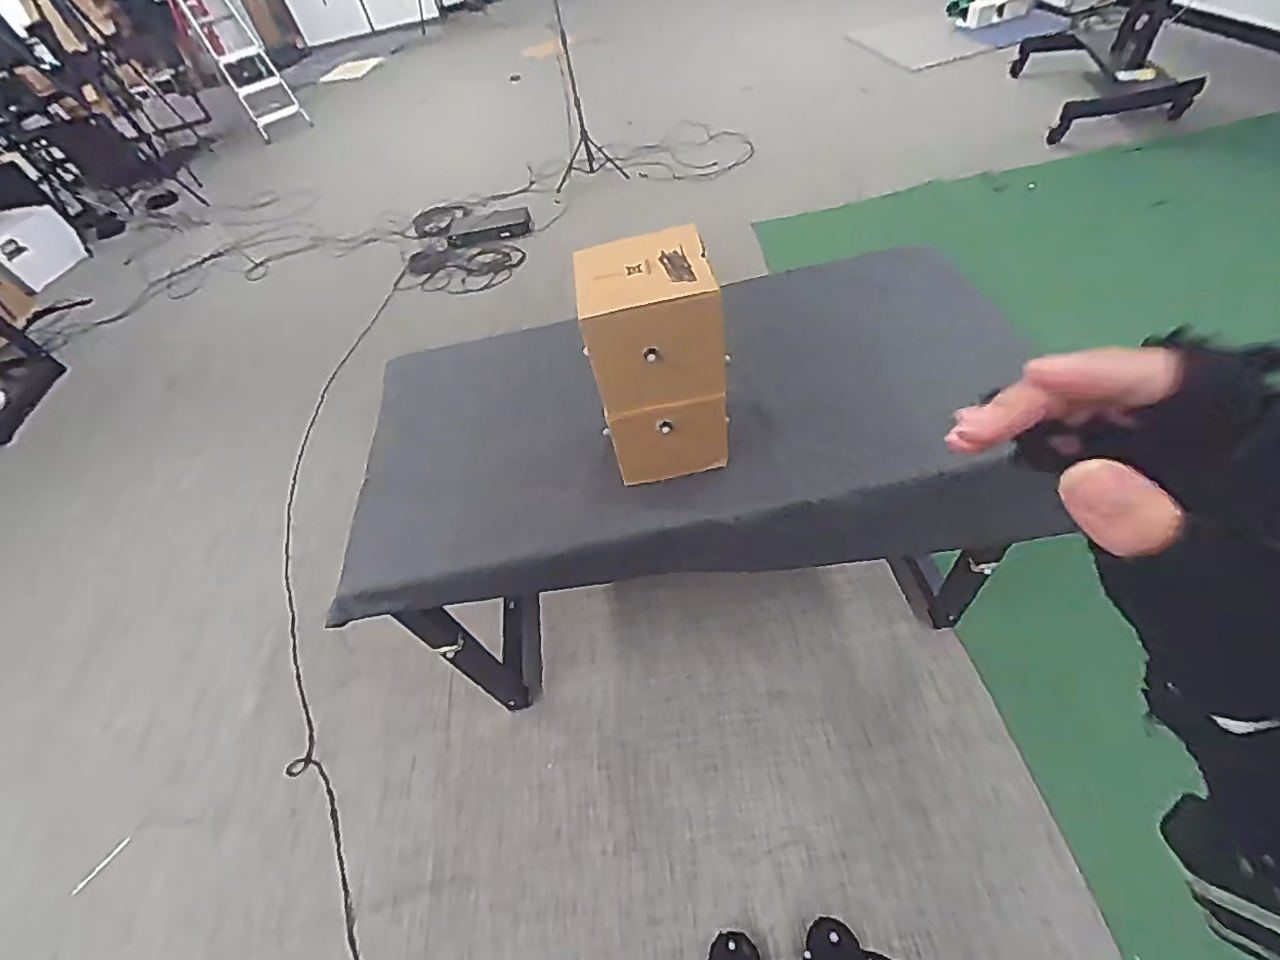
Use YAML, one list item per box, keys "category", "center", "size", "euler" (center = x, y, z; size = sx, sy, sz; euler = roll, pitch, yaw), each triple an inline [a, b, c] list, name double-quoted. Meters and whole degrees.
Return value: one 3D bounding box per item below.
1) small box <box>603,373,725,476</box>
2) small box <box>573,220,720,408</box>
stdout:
- category: "small box"
  center: [0.037, -0.125, 0.883]
  size: [0.179, 0.176, 0.168]
  euler: [-11, 53, 2]
- category: "small box"
  center: [0.013, -0.226, 0.755]
  size: [0.179, 0.176, 0.168]
  euler: [-11, 52, 4]
